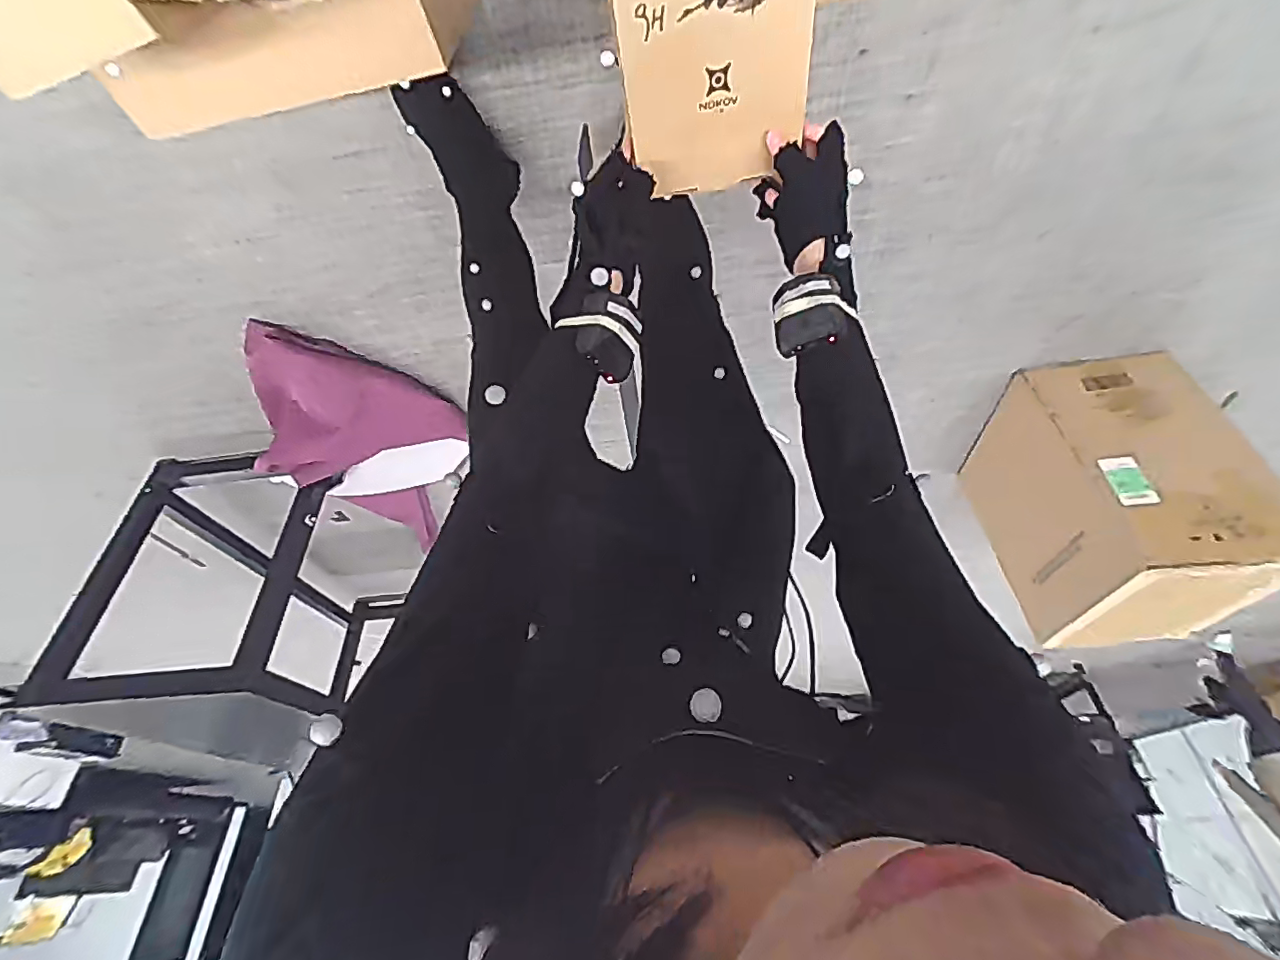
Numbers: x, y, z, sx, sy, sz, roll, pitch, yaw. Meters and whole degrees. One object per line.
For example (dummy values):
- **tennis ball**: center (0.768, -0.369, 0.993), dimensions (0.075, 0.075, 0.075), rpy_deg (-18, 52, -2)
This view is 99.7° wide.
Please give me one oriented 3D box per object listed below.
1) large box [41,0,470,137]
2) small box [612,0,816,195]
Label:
- **large box**: center (-0.454, -0.671, 0.625), dimensions (0.408, 0.320, 0.320), rpy_deg (-9, 145, 7)
- **small box**: center (0.063, -0.422, 0.534), dimensions (0.168, 0.176, 0.179), rpy_deg (-9, 146, 3)
